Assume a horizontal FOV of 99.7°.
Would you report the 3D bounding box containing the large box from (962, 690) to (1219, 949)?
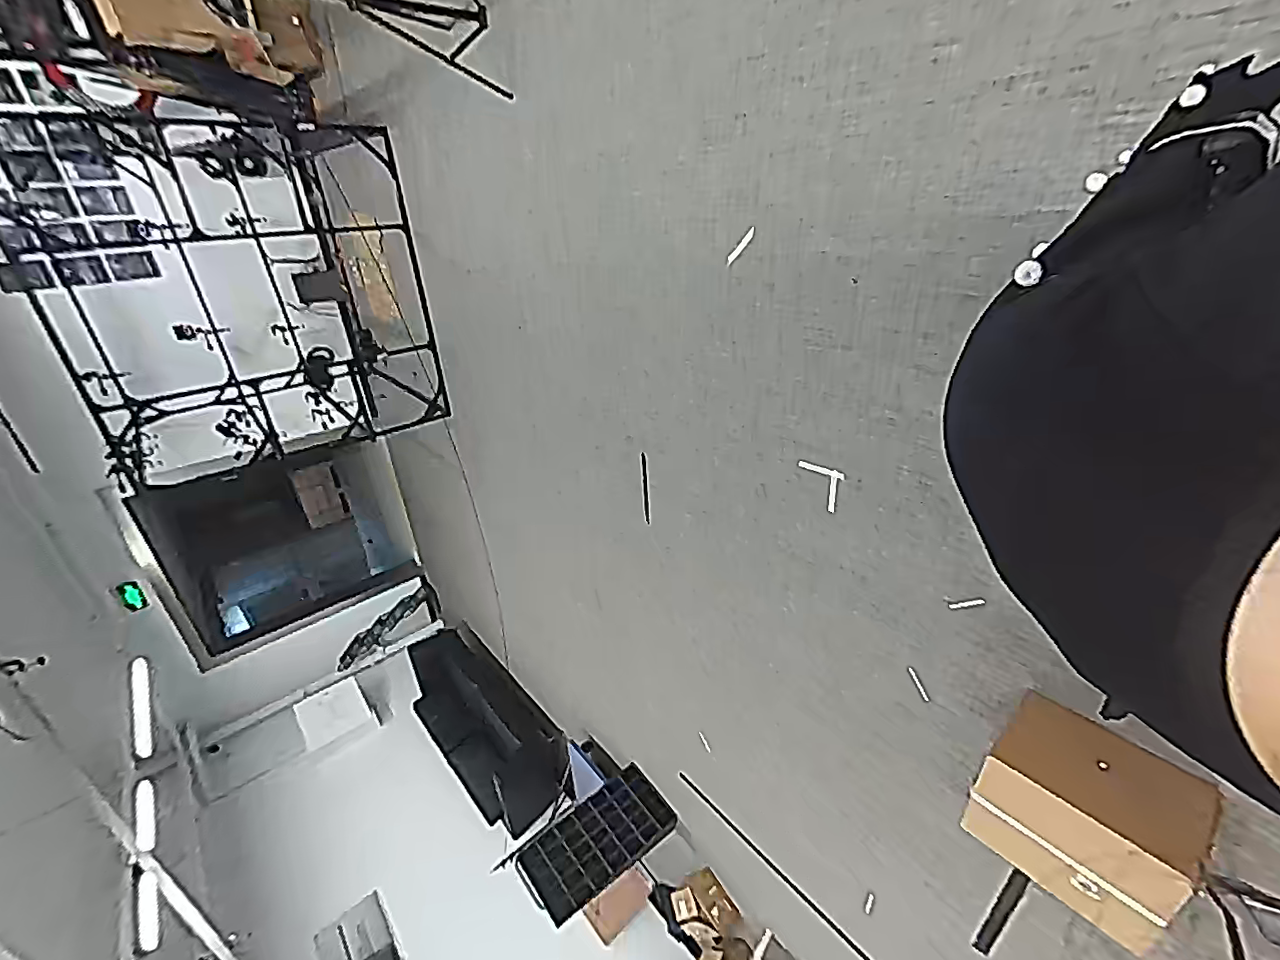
[{"bbox_3d":[1.130,0.833,1.389,0.408,0.320,0.320,26,129,43],"label":"large box"}]
